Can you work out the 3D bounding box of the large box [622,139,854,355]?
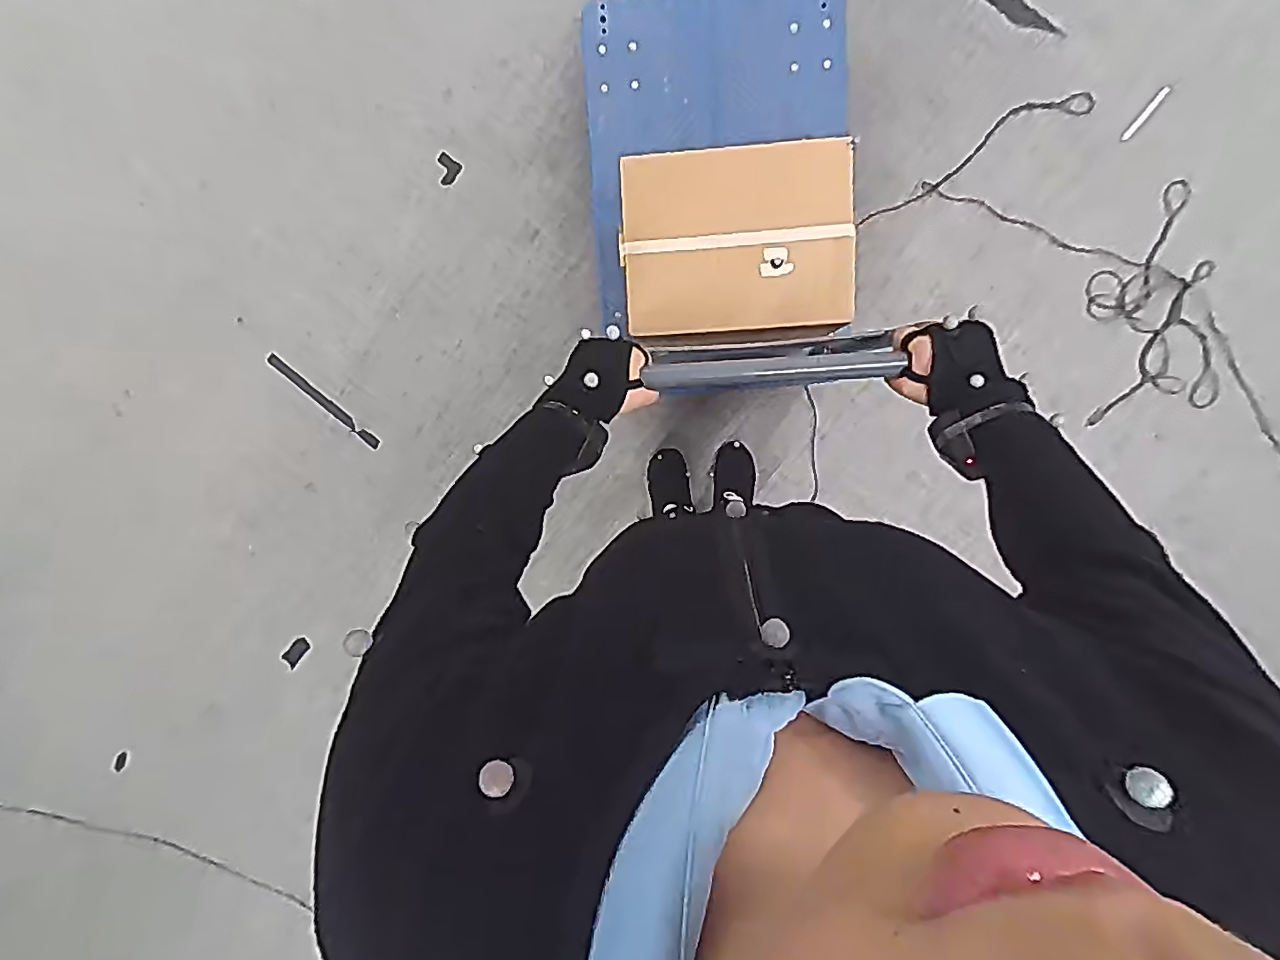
[{"bbox_3d":[0.183,-0.443,1.111,0.408,0.320,0.320,-3,98,3],"label":"large box"}]
